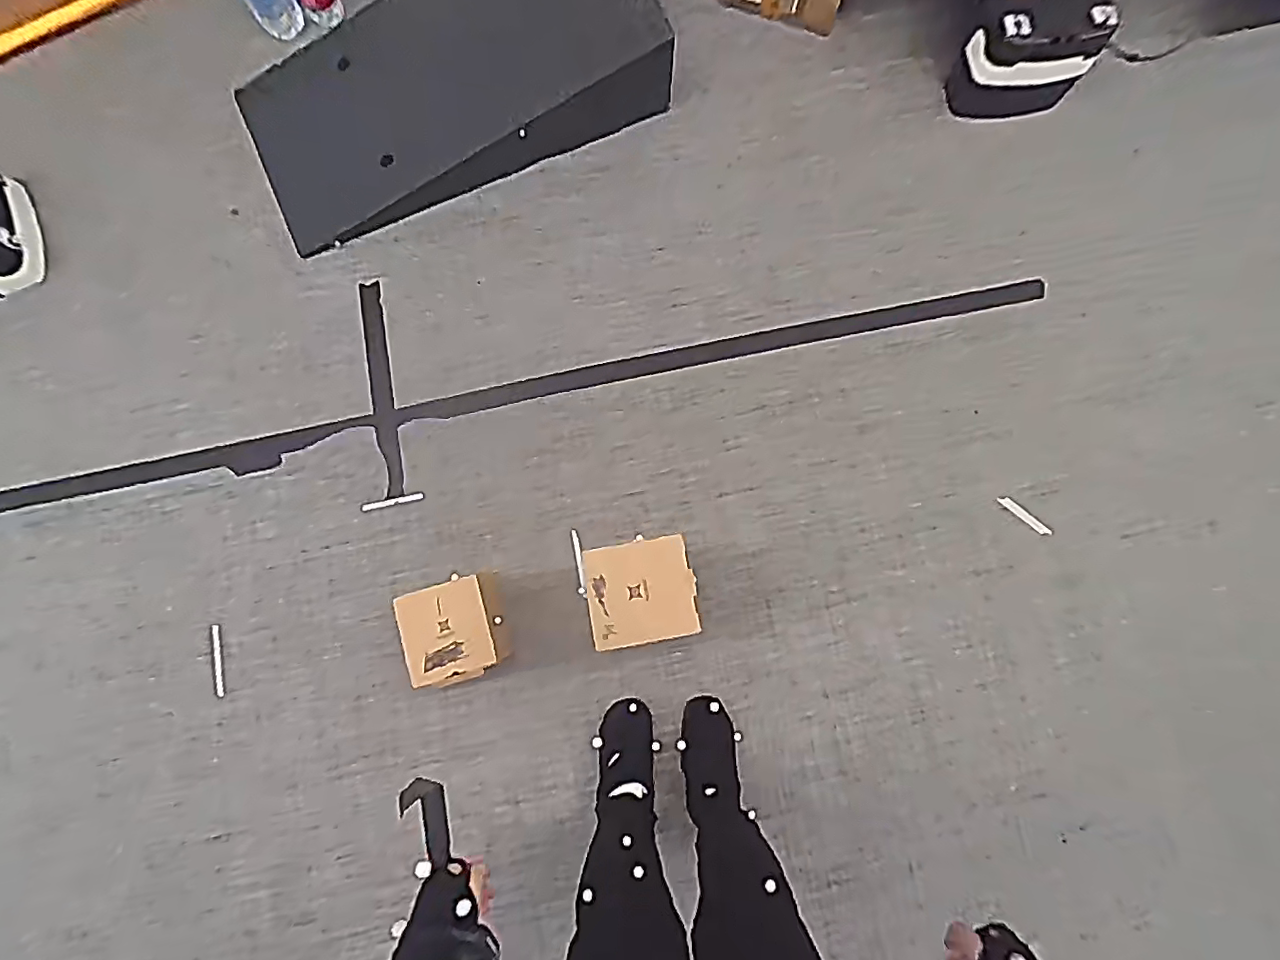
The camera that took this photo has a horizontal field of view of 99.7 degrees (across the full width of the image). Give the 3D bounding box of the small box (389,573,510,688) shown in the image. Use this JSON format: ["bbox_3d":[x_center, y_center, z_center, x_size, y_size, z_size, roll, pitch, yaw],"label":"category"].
[{"bbox_3d":[-0.374,0.293,1.091,0.168,0.176,0.179,-16,82,-3],"label":"small box"}]

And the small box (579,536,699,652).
[{"bbox_3d":[-0.005,0.193,0.948,0.179,0.176,0.168,-9,81,-3],"label":"small box"}]
